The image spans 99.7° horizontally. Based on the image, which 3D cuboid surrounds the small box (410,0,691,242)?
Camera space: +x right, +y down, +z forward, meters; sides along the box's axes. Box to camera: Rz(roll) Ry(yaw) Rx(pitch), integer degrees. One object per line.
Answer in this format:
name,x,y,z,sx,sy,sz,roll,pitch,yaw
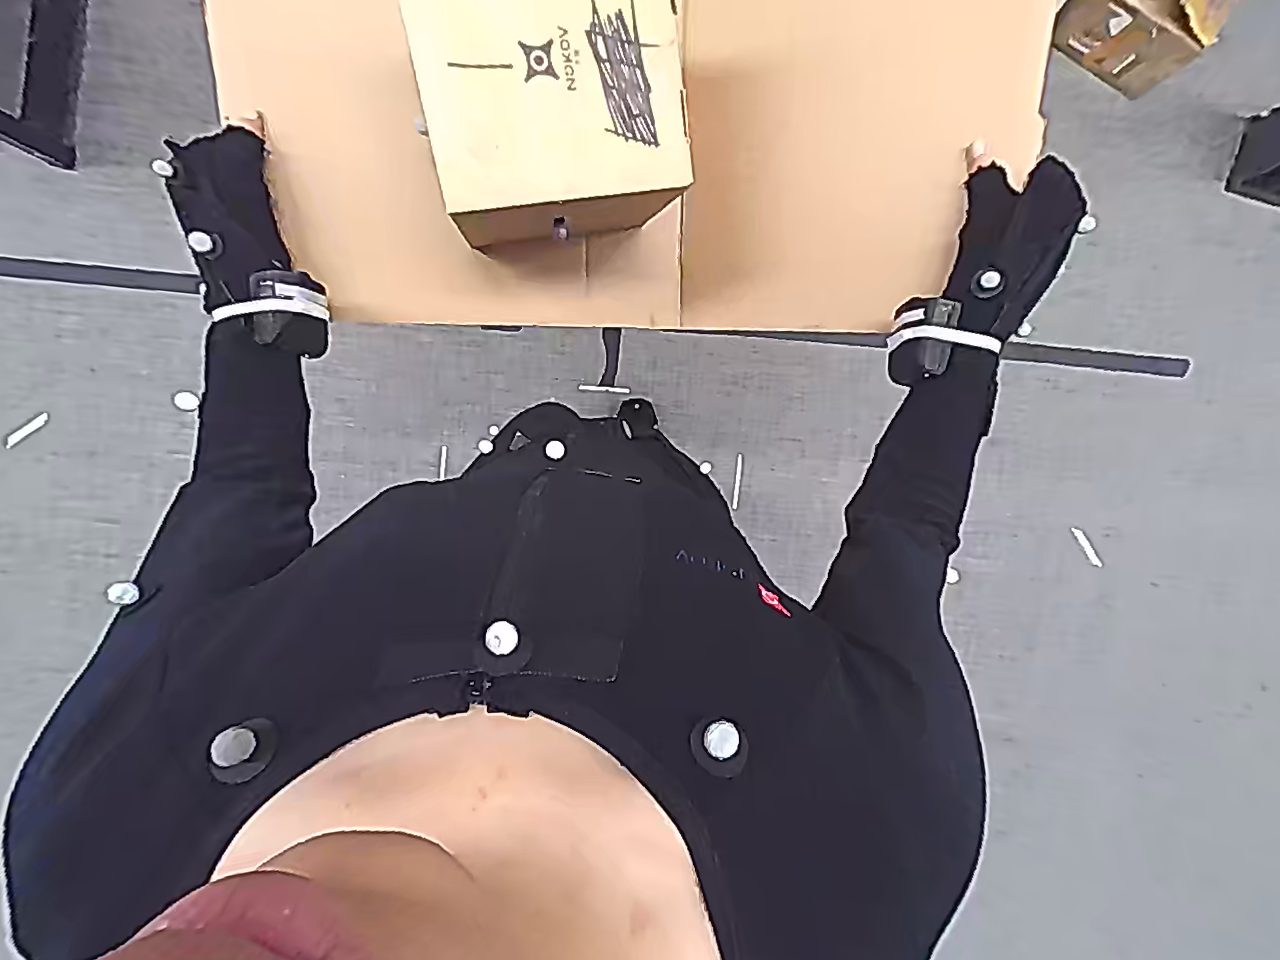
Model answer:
small box,-0.072,-0.299,0.438,0.179,0.176,0.168,-11,108,-9
